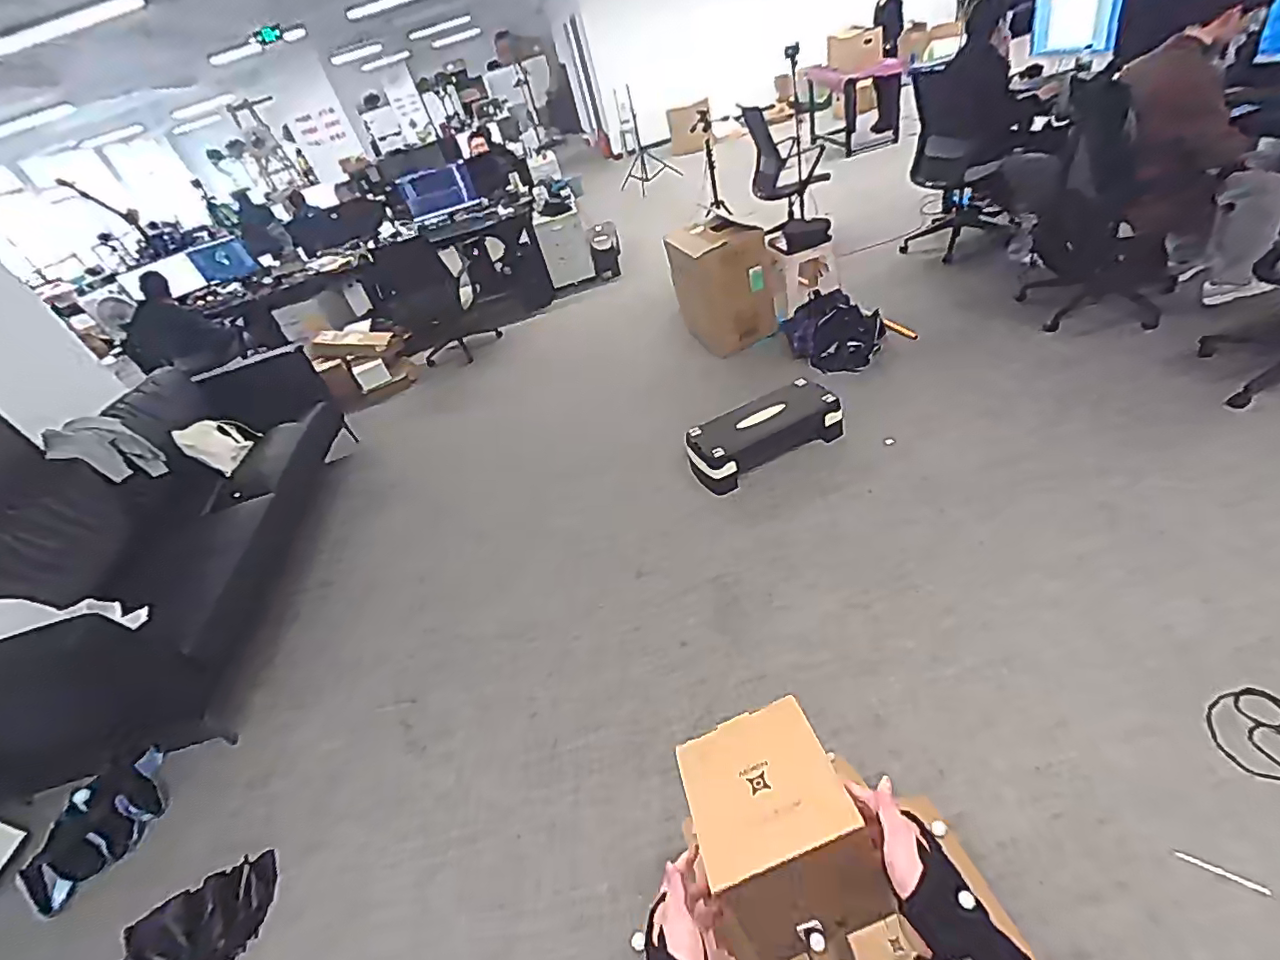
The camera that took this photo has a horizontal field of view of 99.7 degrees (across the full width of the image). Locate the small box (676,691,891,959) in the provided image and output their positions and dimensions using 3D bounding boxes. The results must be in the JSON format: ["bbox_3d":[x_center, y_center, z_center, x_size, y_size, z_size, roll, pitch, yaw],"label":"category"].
[{"bbox_3d":[0.159,0.392,0.627,0.168,0.176,0.179,-24,22,1],"label":"small box"}]
